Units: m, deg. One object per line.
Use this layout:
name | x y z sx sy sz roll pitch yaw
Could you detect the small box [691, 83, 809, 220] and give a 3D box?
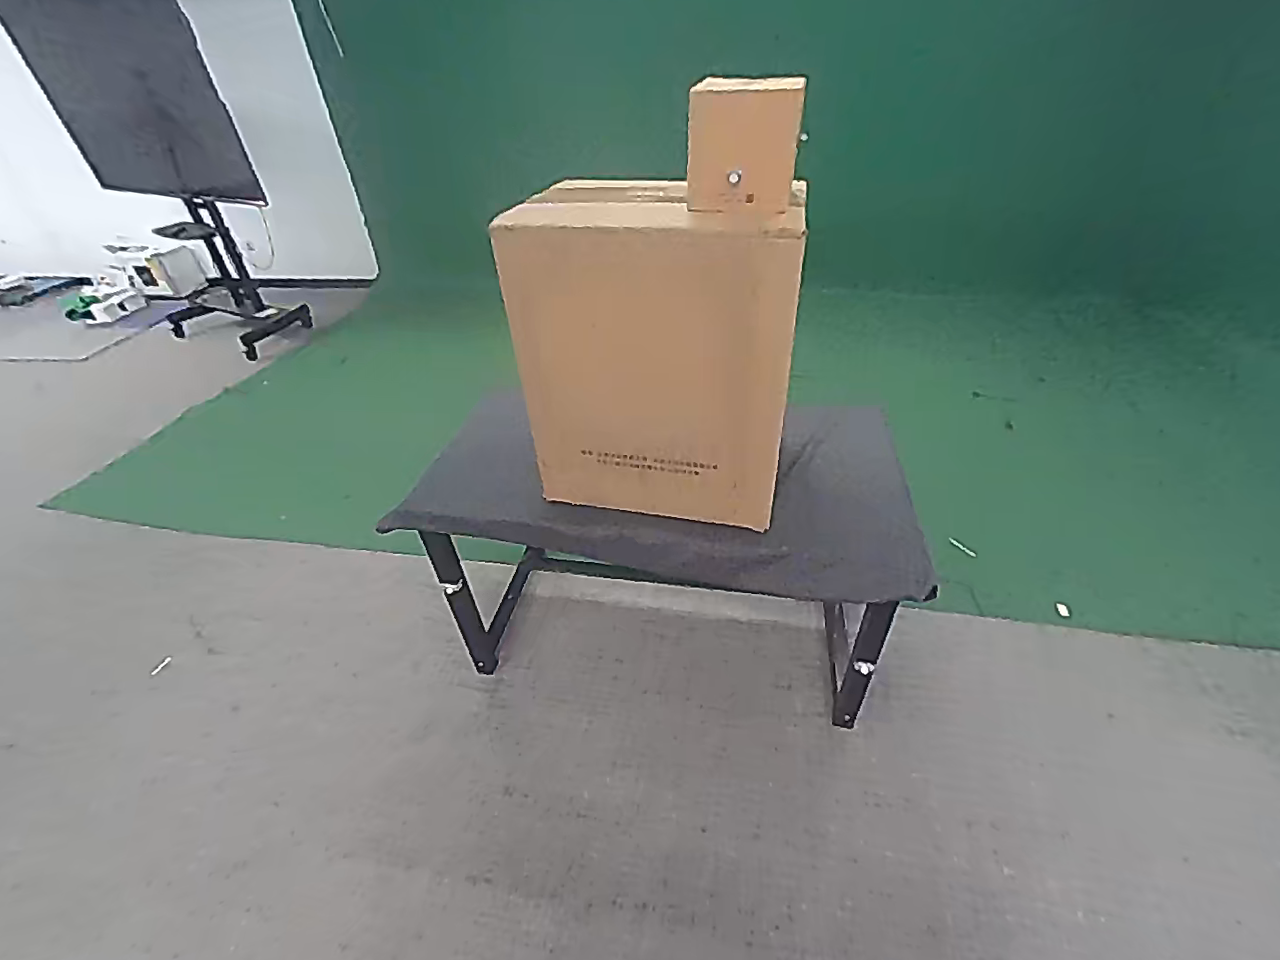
small box | 0.181 -0.551 0.902 0.168 0.176 0.179 8 42 12
